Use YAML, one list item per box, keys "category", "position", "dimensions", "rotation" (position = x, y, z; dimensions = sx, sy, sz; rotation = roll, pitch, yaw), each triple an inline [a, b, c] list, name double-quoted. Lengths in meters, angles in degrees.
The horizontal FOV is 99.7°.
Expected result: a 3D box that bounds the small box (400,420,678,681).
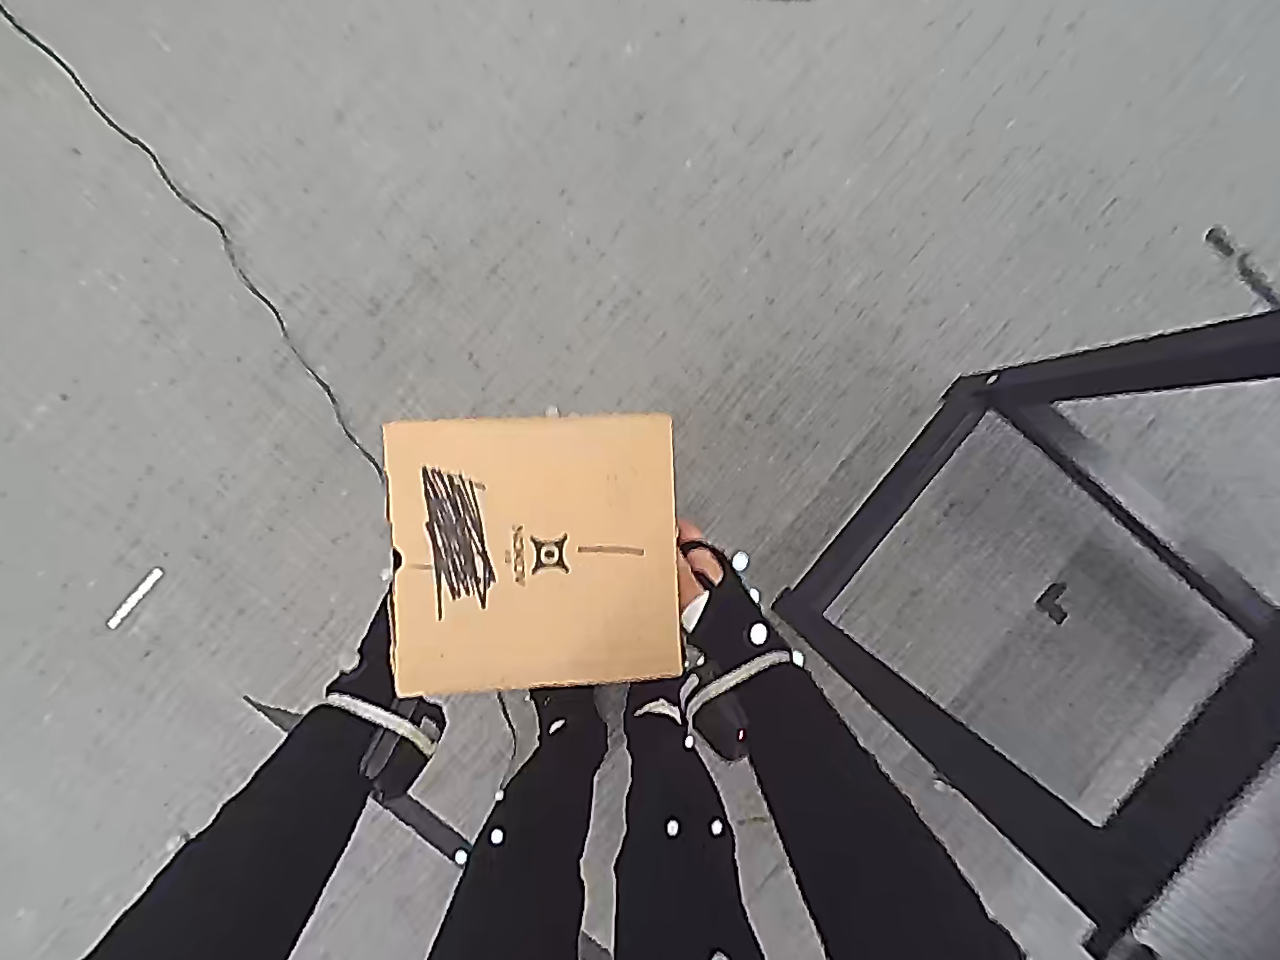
- category: "small box"
  position: [-0.069, 0.044, 0.429]
  dimensions: [0.179, 0.176, 0.168]
  rotation: [-3, 91, -5]
